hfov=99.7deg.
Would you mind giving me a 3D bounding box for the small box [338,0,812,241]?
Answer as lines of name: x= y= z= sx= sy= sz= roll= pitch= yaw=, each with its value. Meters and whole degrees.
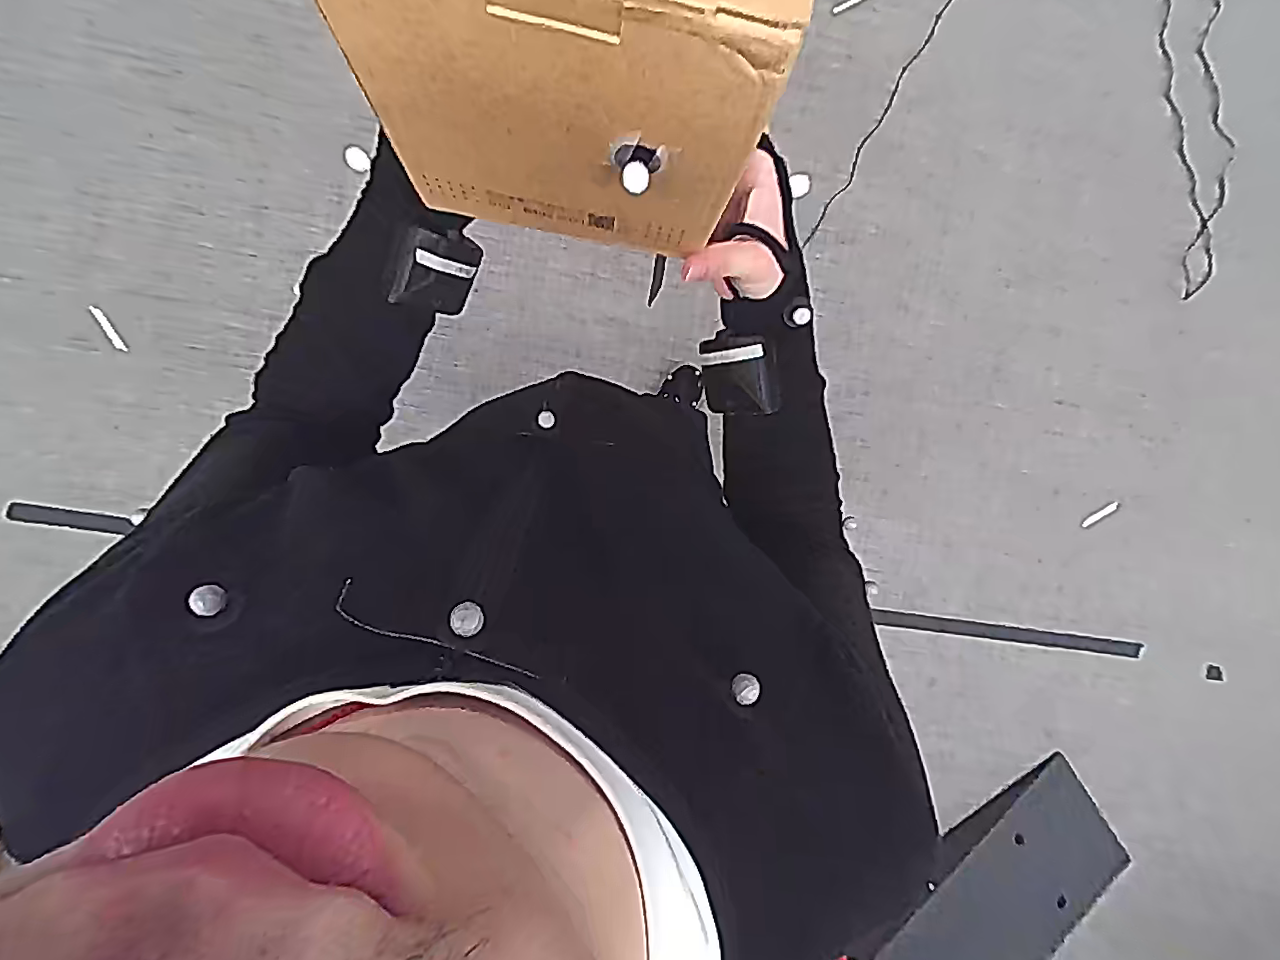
small box: x=-0.021 y=-0.241 z=0.253 sx=0.168 sy=0.176 sz=0.179 roll=8 pitch=87 yaw=-7
